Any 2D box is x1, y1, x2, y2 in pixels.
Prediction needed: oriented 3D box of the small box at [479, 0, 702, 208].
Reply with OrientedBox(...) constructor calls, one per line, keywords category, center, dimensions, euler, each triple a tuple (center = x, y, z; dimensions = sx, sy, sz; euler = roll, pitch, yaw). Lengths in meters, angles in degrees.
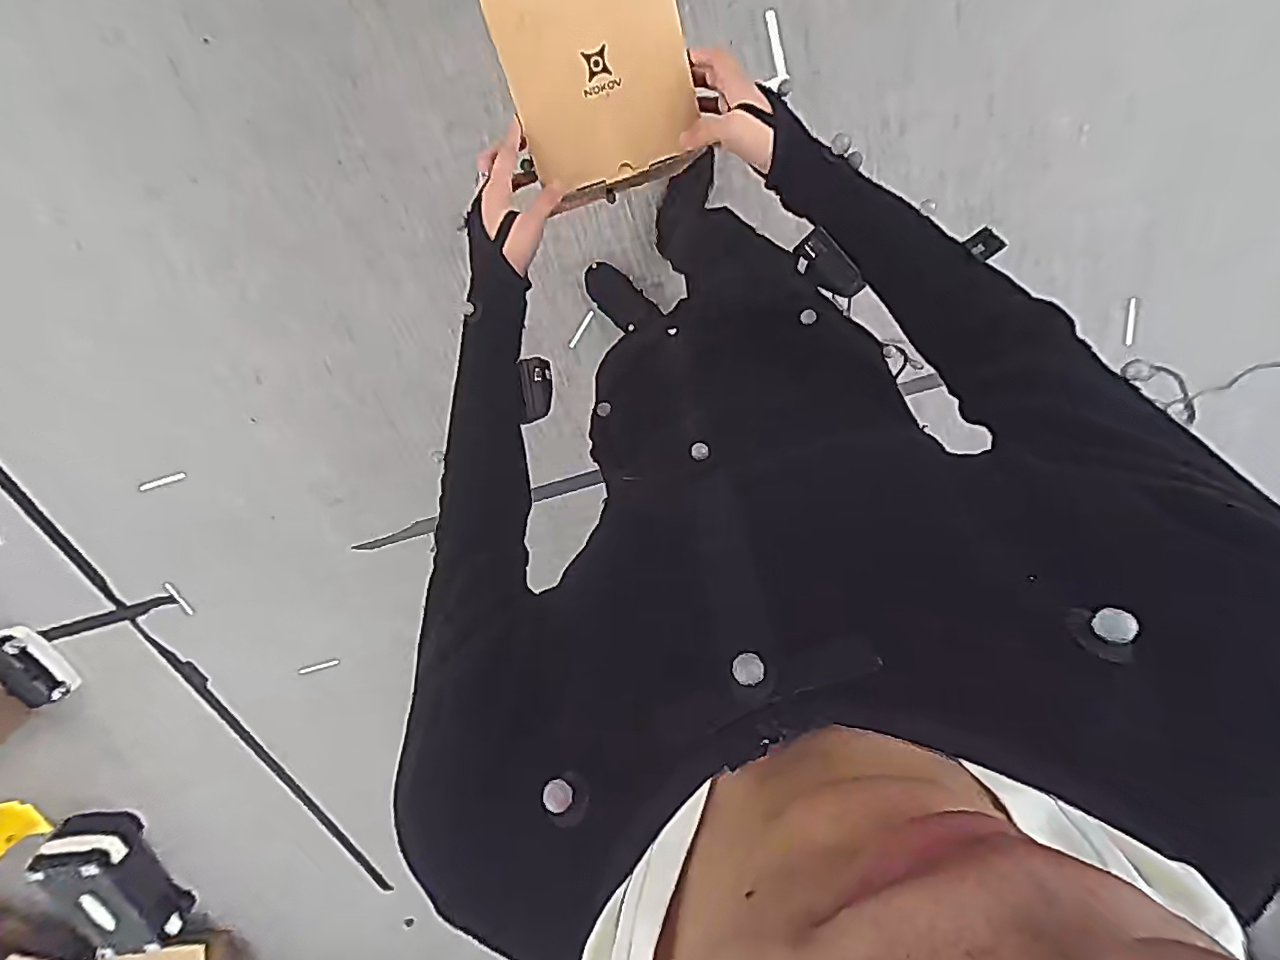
OrientedBox(category="small box", center=(-0.049, -0.401, 0.557), dimensions=(0.168, 0.176, 0.179), euler=(-18, 114, 2))
